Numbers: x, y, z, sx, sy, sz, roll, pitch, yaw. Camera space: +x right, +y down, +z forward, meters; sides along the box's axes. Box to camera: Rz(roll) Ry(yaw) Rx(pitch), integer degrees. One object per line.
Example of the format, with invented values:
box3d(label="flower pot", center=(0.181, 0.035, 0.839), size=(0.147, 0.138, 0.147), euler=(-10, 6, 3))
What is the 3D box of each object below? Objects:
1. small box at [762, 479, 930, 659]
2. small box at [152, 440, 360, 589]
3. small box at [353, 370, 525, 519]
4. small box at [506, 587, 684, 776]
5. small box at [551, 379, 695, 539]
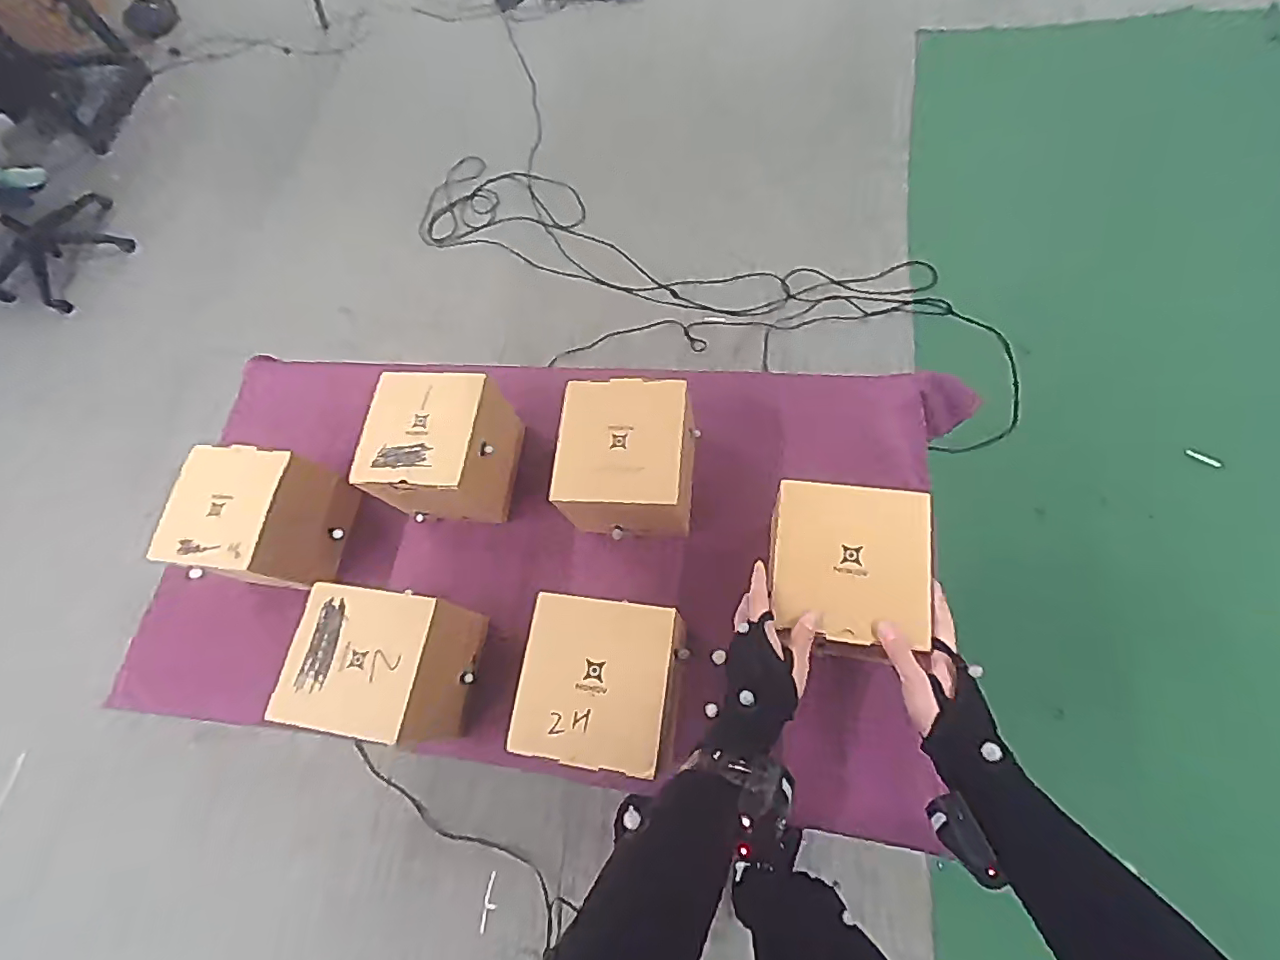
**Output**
box3d(label="small box", center=(0.245, 0.117, 0.674), size=(0.168, 0.176, 0.179), euler=(6, 71, 12))
box3d(label="small box", center=(-0.568, 0.057, 0.830), size=(0.168, 0.176, 0.179), euler=(4, 69, 13))
box3d(label="small box", center=(-0.292, -0.048, 0.827), size=(0.168, 0.176, 0.179), euler=(4, 69, 11))
box3d(label="small box", center=(-0.040, 0.244, 0.669), size=(0.168, 0.176, 0.179), euler=(5, 69, 12))
box3d(label="small box", center=(-0.012, -0.026, 0.774), size=(0.168, 0.176, 0.179), euler=(2, 70, 11))
